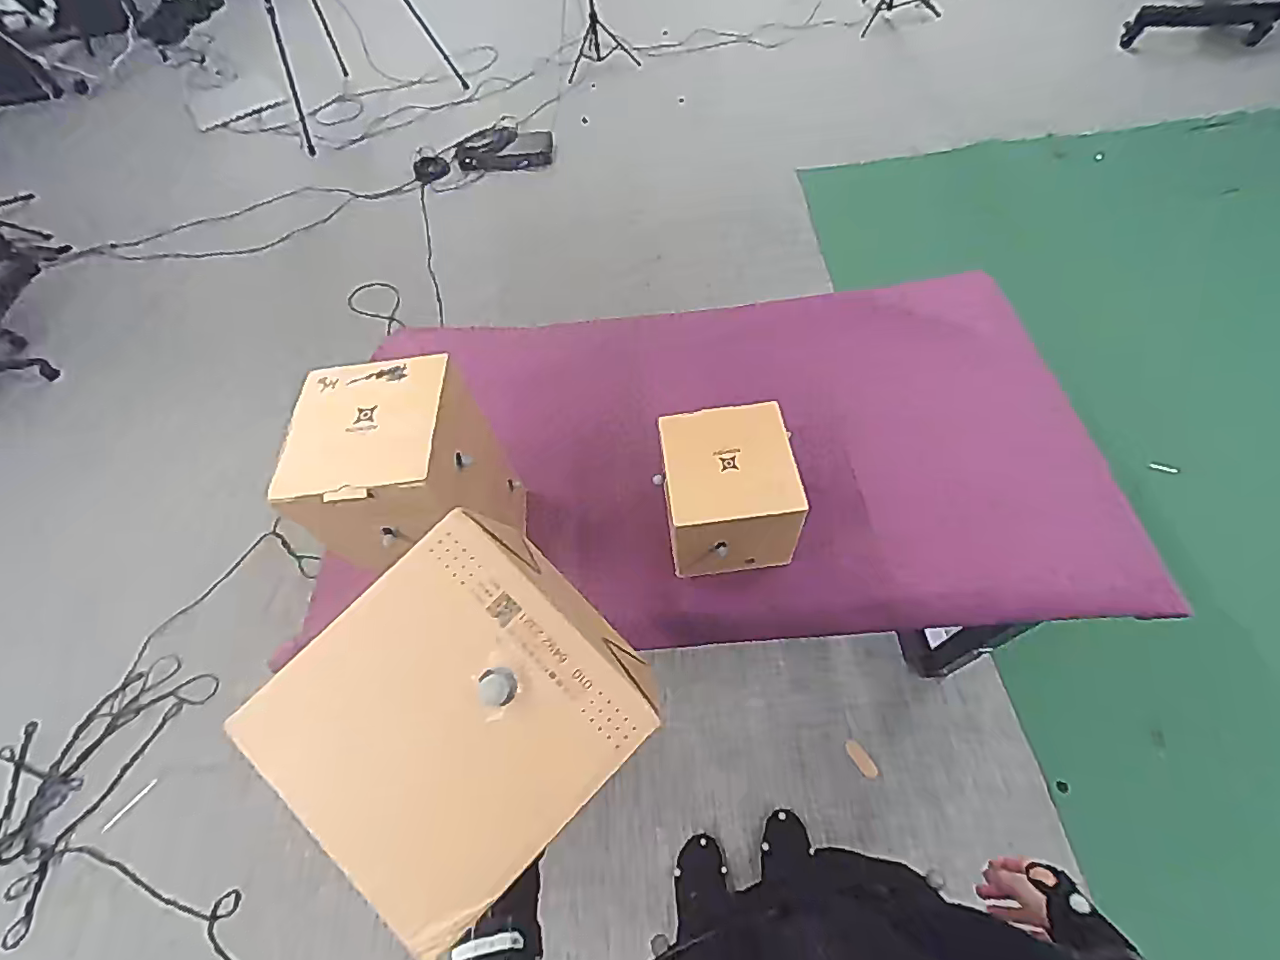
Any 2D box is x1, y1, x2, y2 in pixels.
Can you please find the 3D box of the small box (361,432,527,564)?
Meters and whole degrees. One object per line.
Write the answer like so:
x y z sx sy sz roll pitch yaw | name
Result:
-0.267 0.055 0.779 0.168 0.176 0.179 -7 58 2 | small box

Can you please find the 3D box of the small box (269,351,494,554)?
-0.280 -0.022 0.636 0.168 0.176 0.179 -6 58 3 | small box

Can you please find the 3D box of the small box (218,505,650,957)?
-0.108 0.137 0.366 0.176 0.179 0.168 -44 84 -8 | small box

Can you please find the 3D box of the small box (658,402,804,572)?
0.120 0.019 0.761 0.168 0.176 0.179 -7 56 2 | small box
